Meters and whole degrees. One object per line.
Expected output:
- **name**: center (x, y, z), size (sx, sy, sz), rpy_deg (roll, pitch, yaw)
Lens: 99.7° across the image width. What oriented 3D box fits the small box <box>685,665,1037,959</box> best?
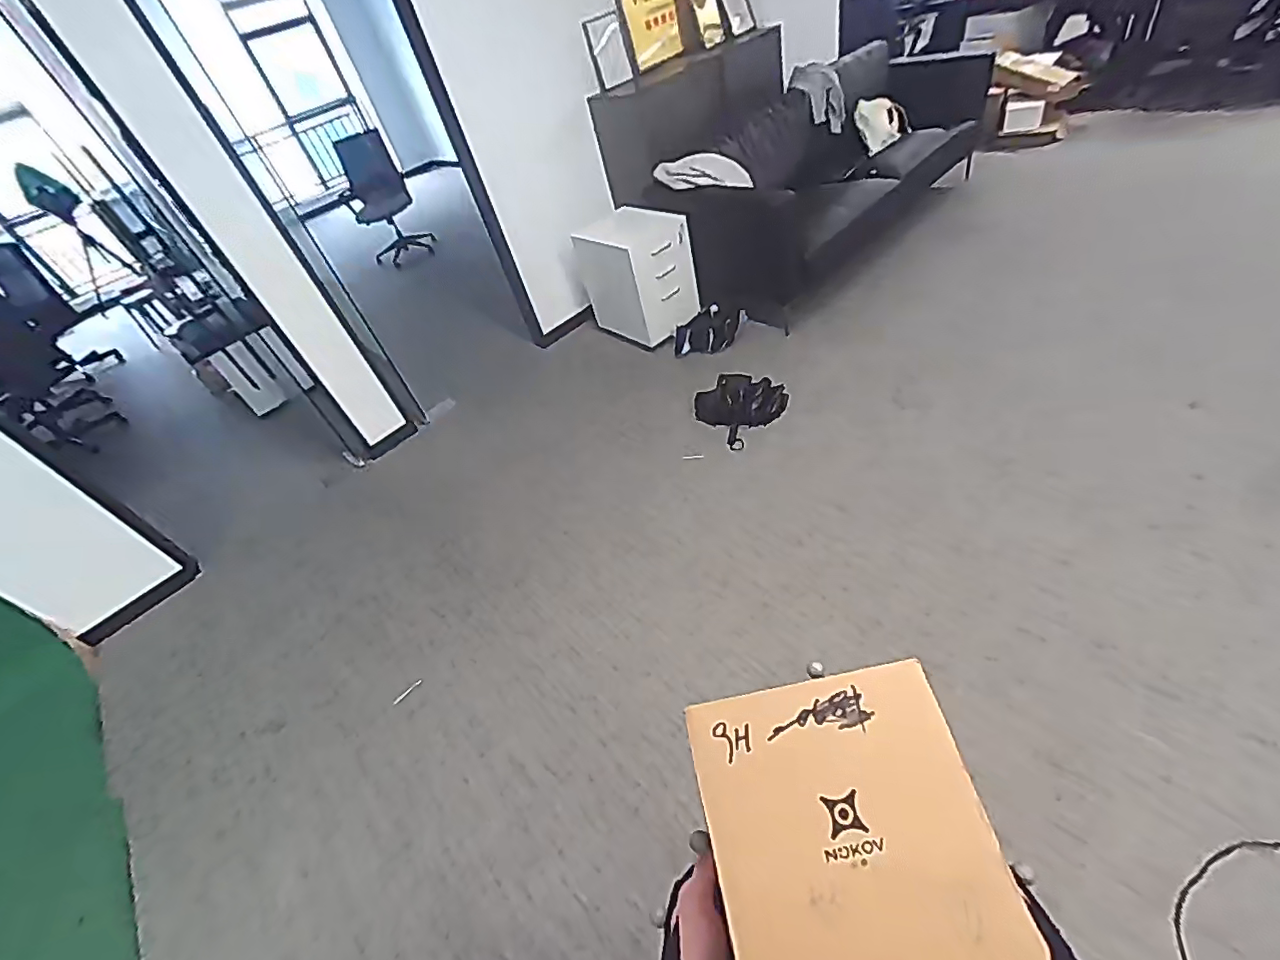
- **small box**: center (0.132, 0.251, 0.398), size (0.168, 0.176, 0.179), rpy_deg (-11, 61, 0)
